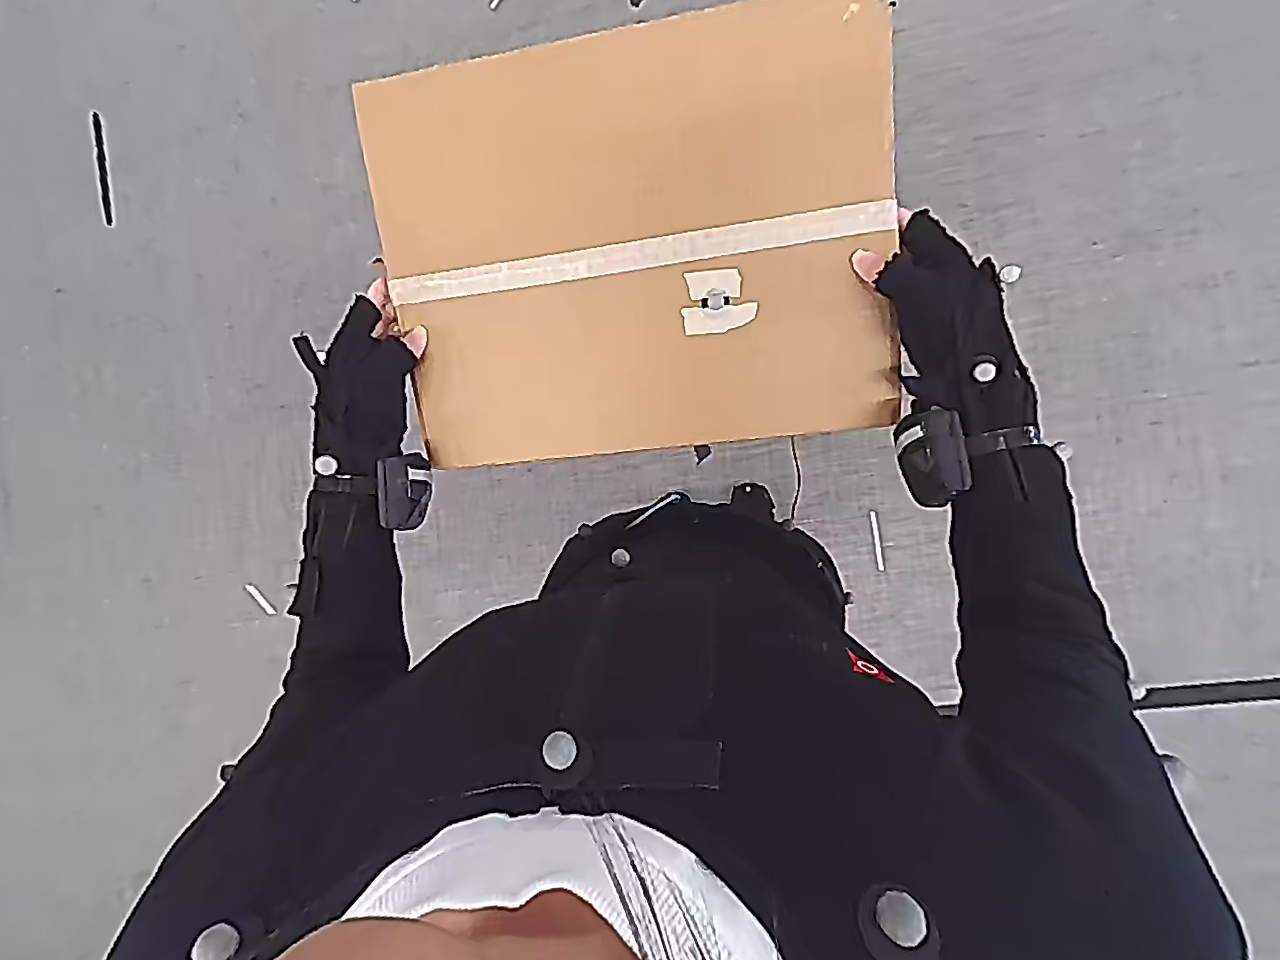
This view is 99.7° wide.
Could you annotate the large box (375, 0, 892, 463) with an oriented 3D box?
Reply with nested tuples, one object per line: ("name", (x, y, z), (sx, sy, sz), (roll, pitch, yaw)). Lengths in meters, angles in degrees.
("large box", (0.010, -0.216, 0.590), (0.408, 0.320, 0.320), (-6, 102, 8))
